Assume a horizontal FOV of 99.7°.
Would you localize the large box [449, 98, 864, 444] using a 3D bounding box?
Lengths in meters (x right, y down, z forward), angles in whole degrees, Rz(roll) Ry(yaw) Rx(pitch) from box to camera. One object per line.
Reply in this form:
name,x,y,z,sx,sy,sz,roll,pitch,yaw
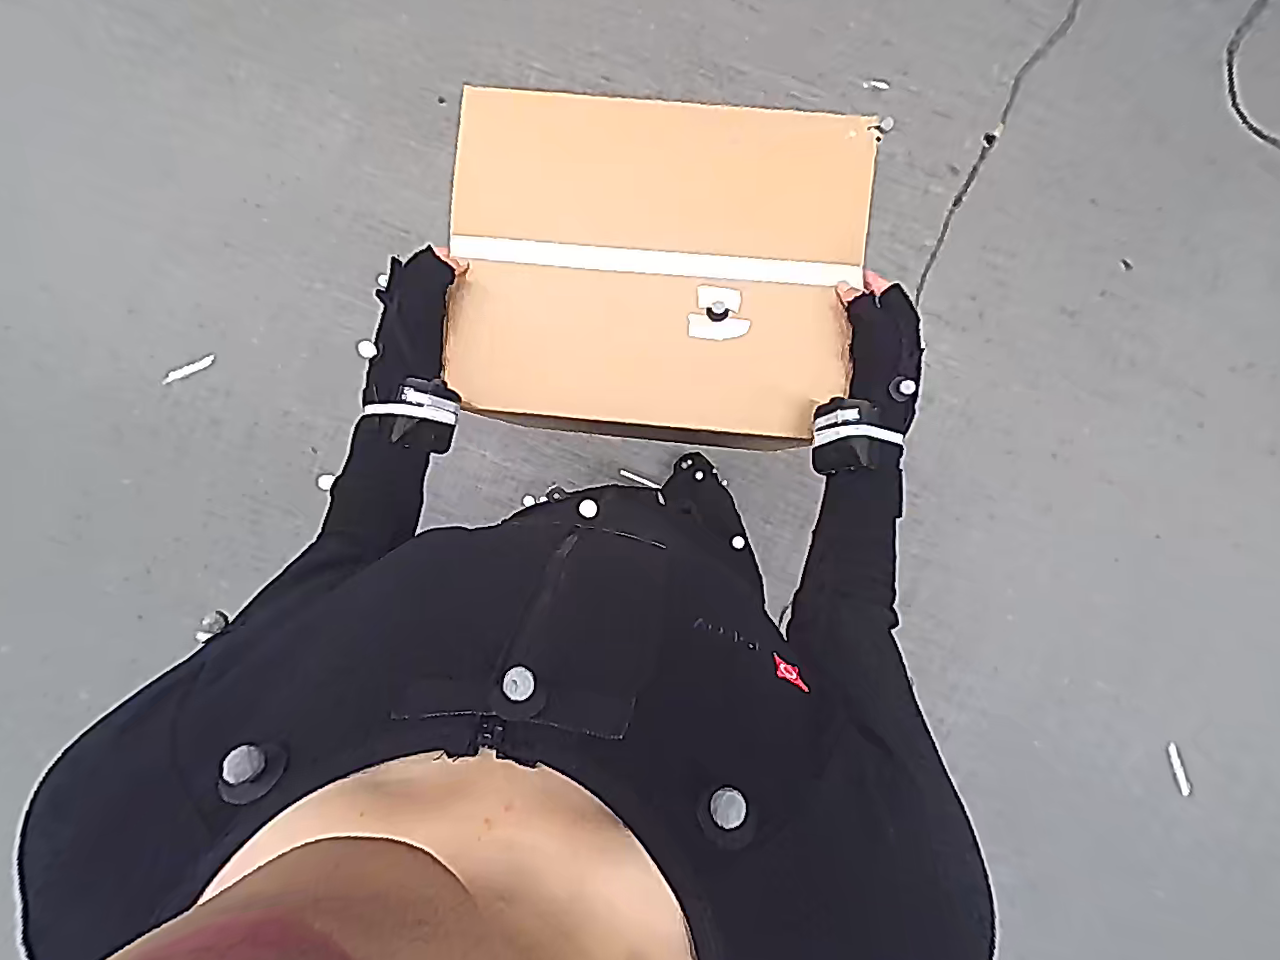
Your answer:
large box,0.015,-0.218,0.686,0.408,0.320,0.320,5,92,1
